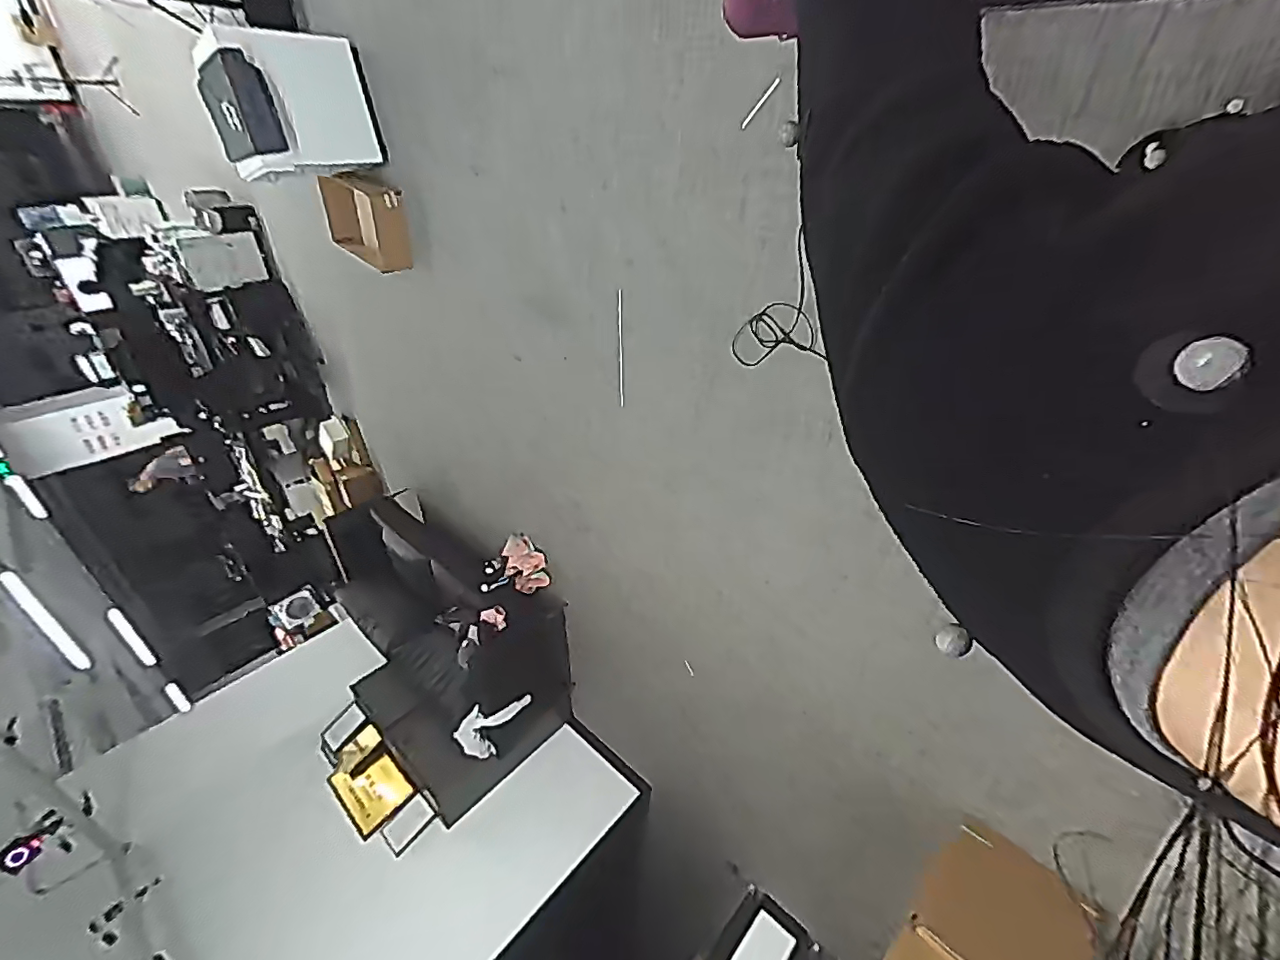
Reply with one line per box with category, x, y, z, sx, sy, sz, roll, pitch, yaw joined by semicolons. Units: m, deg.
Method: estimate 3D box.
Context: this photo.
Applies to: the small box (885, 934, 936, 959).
small box;0.837;1.541;1.633;0.179;0.176;0.168;30;131;32
